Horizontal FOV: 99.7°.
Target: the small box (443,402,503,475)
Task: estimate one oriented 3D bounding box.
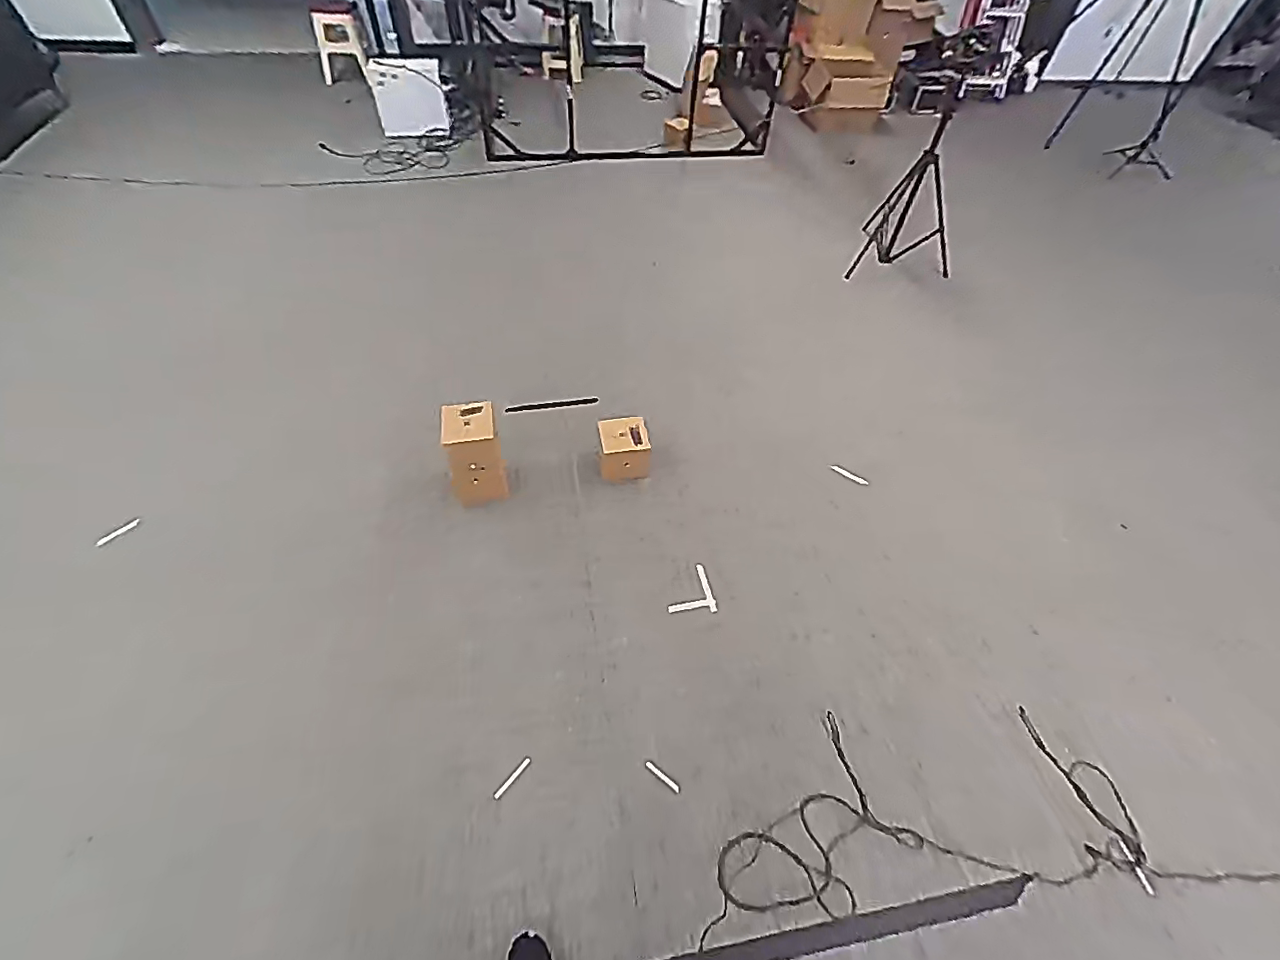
[{"bbox_3d":[-0.562,-0.140,1.832,0.168,0.176,0.179,-7,54,-9],"label":"small box"}]

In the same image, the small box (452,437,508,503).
[{"bbox_3d":[-0.575,-0.036,1.959,0.179,0.176,0.168,-8,53,-9],"label":"small box"}]
